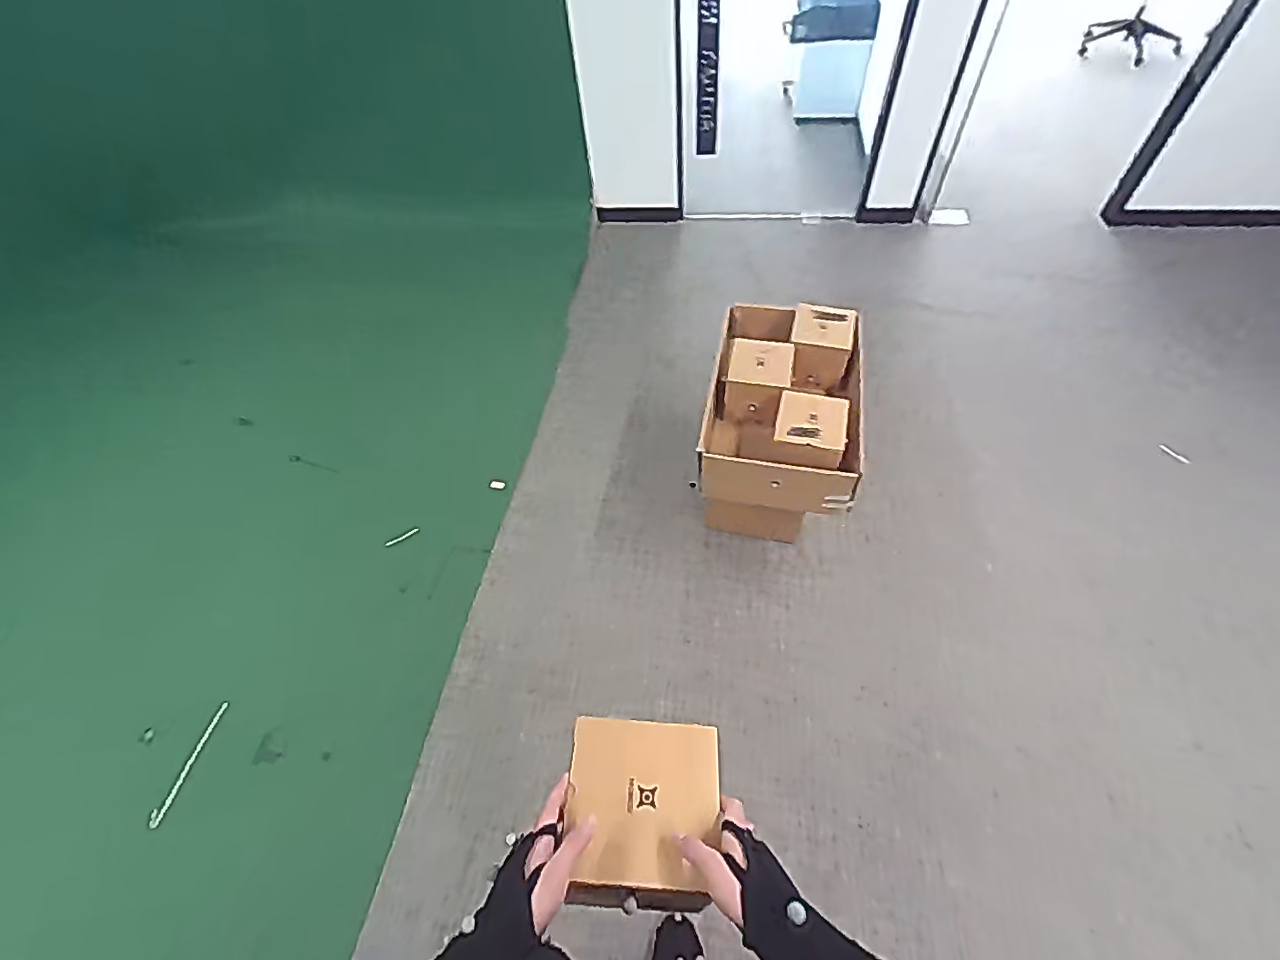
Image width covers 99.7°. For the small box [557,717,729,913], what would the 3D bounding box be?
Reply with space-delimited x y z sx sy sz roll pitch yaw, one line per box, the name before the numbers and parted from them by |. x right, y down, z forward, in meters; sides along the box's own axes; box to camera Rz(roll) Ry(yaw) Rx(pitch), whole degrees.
small box | 0.005 0.407 0.654 0.179 0.176 0.168 4 46 1

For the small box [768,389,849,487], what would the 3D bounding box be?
small box | 0.427 -0.104 1.383 0.168 0.176 0.179 11 57 13

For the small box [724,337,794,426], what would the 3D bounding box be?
small box | 0.330 -0.273 1.513 0.168 0.176 0.179 9 56 10
